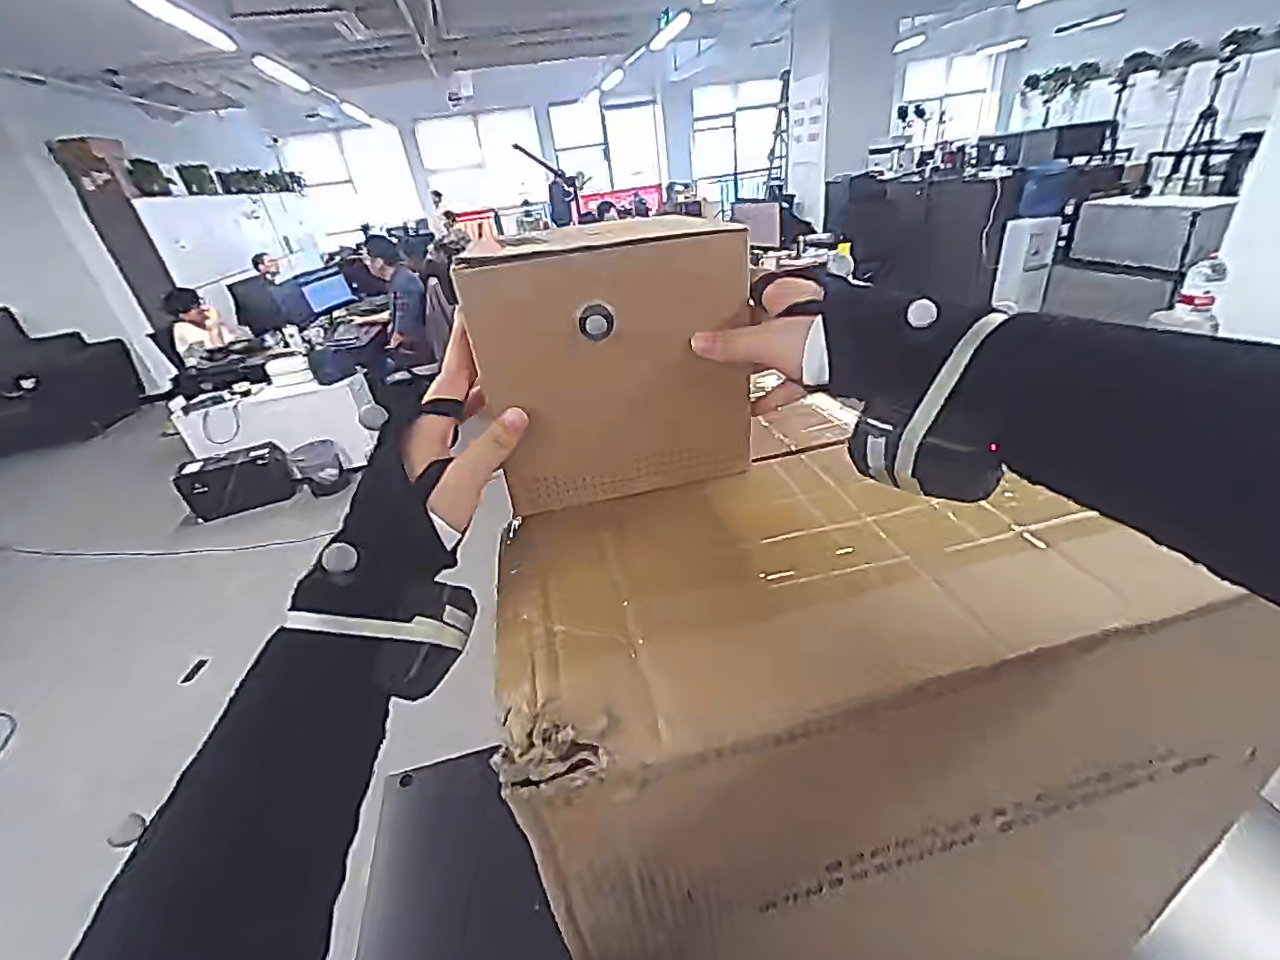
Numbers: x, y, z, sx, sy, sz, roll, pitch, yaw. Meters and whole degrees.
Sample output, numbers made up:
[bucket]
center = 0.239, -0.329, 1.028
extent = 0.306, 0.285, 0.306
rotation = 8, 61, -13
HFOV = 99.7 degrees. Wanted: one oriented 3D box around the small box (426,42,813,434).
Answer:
[small box]
center = -0.011, -0.140, 0.337
extent = 0.179, 0.176, 0.168
rotation = -11, 29, -8
